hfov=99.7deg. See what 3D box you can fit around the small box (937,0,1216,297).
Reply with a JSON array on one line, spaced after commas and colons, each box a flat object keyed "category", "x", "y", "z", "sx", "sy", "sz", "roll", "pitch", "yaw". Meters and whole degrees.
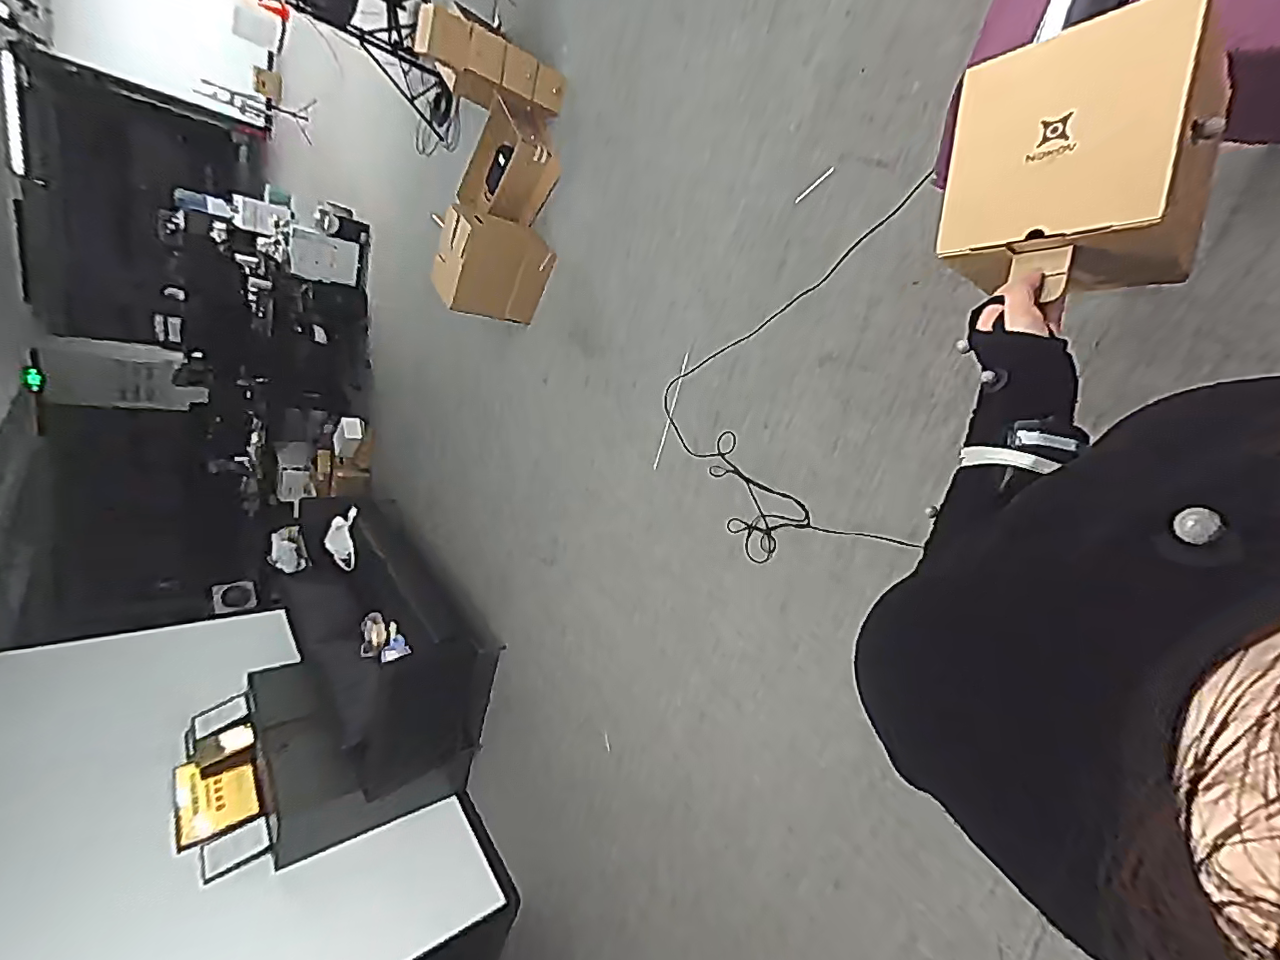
[{"category": "small box", "x": 0.419, "y": -0.292, "z": 0.521, "sx": 0.168, "sy": 0.176, "sz": 0.179, "roll": 14, "pitch": 99, "yaw": 49}]
